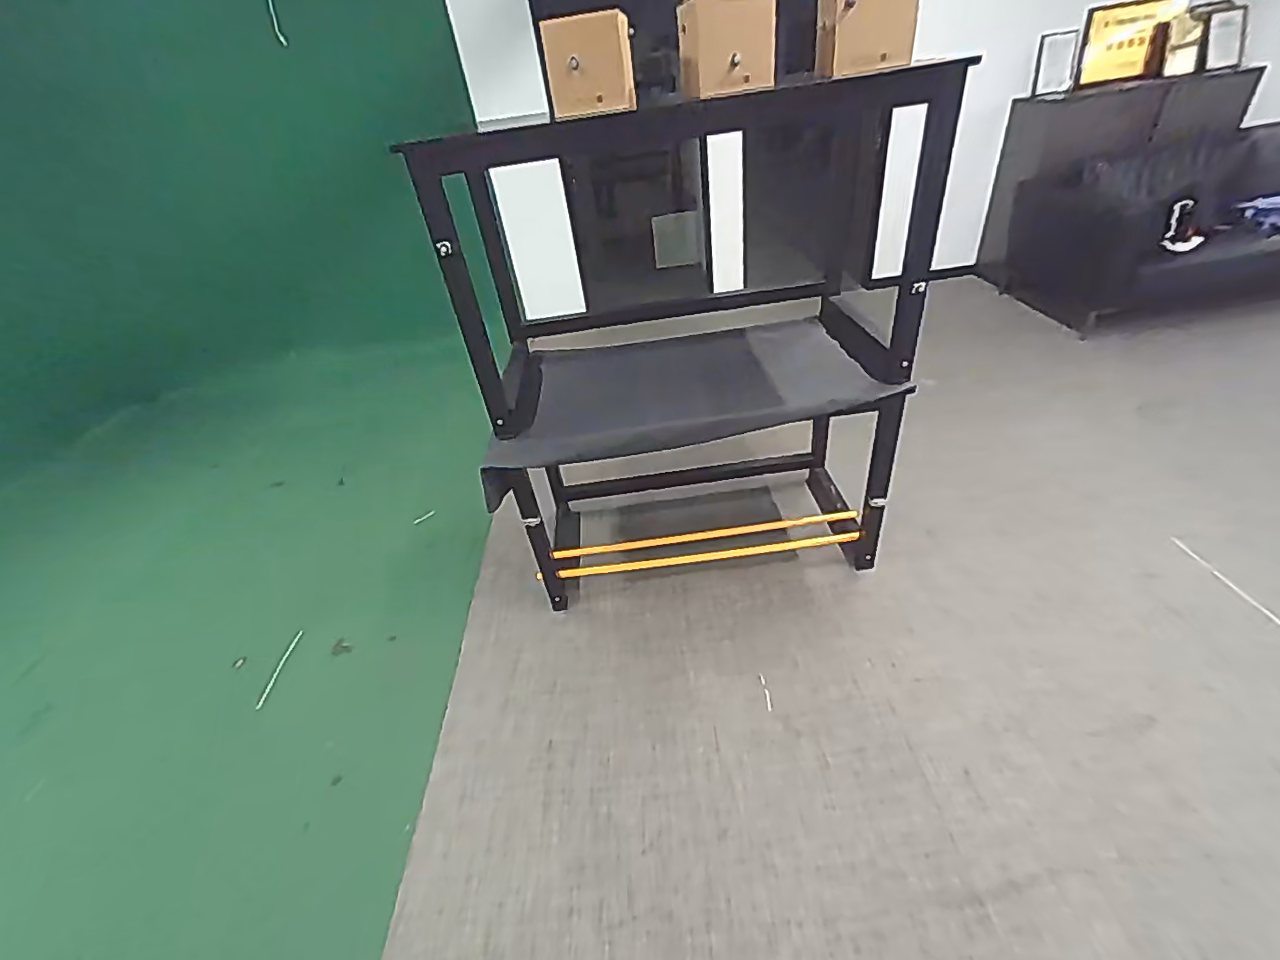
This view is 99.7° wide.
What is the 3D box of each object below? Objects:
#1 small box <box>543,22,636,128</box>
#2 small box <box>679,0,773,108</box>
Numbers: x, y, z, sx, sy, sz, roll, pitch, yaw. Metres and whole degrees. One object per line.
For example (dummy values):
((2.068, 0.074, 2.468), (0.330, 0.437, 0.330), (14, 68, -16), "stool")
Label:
((-0.105, -0.905, 1.221), (0.168, 0.176, 0.179), (-3, 35, 8), "small box")
((0.186, -0.937, 1.200), (0.168, 0.176, 0.179), (-11, 36, -2), "small box")
